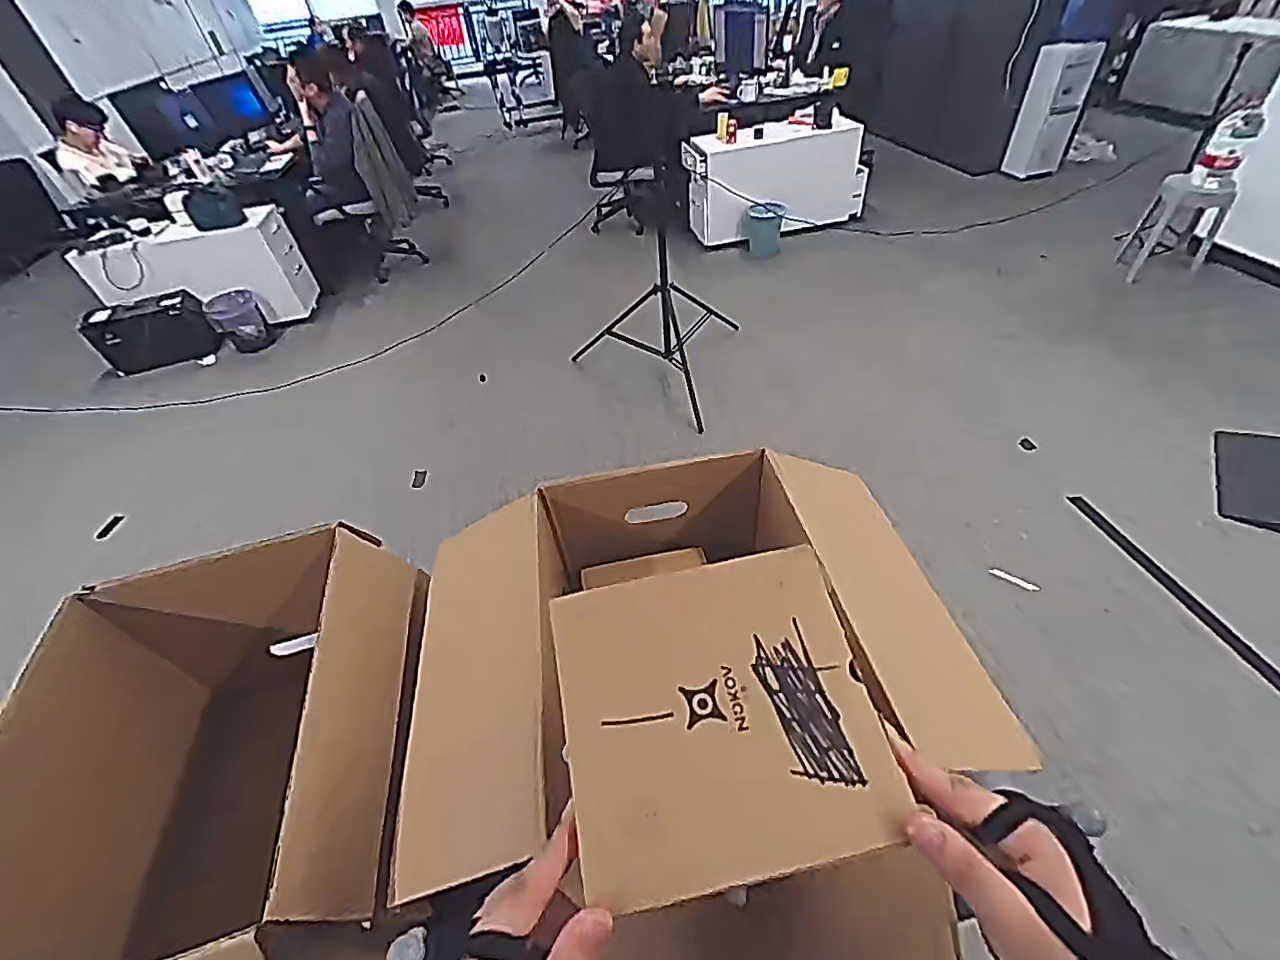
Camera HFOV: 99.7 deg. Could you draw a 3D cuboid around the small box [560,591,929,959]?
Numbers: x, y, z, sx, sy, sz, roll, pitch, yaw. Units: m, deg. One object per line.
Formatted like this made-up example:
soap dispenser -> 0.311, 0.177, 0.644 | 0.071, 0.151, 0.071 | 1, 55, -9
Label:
small box -> 0.050, 0.195, 0.373 | 0.179, 0.176, 0.168 | -11, 58, -4
